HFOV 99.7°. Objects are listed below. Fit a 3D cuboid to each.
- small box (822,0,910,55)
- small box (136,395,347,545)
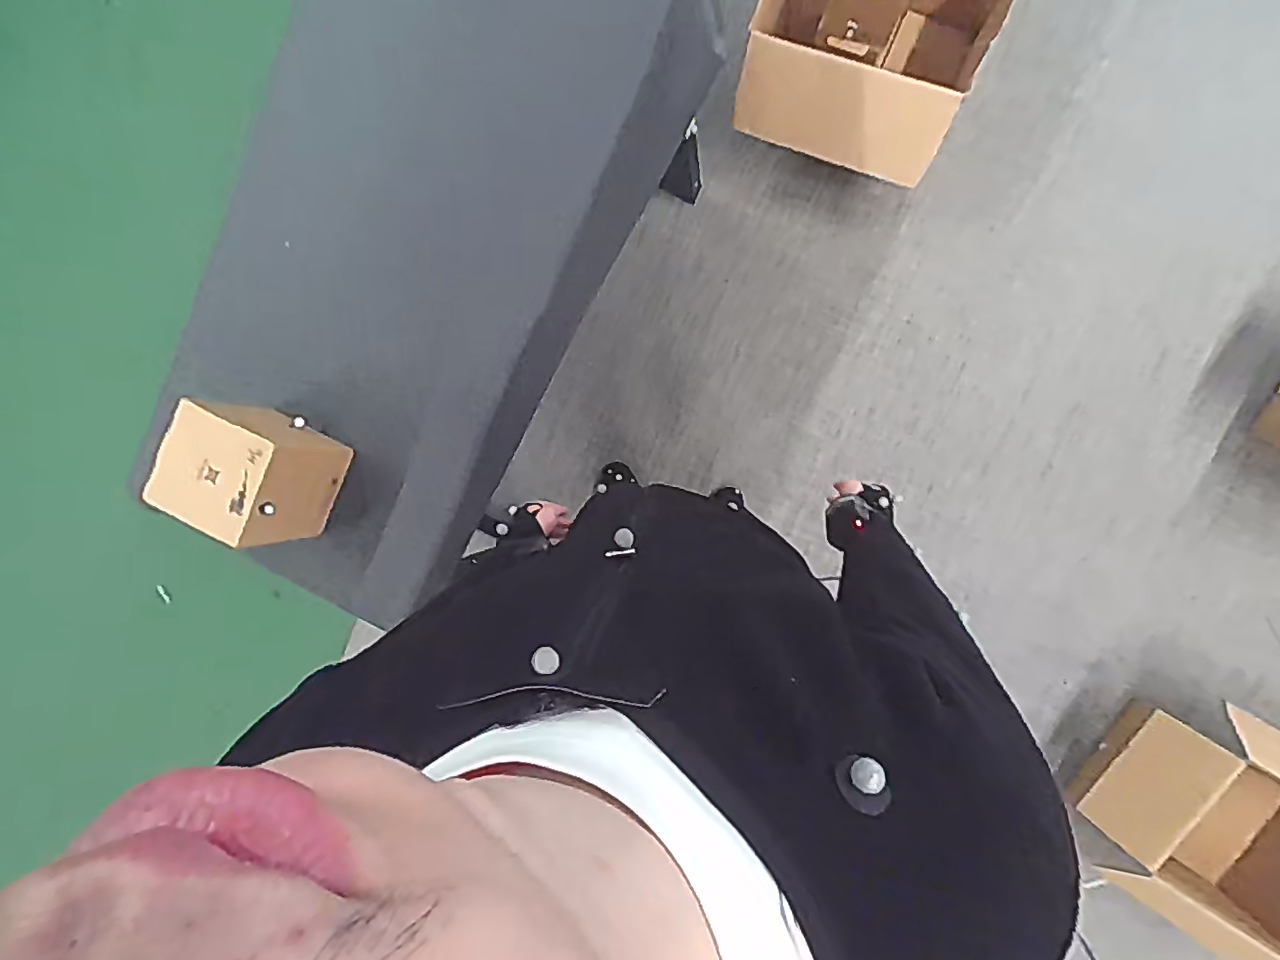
[{"bbox_3d":[0.531,-1.126,1.225,0.168,0.176,0.179,18,94,6],"label":"small box"},{"bbox_3d":[-0.614,-0.012,0.852,0.179,0.176,0.168,25,93,8],"label":"small box"}]
